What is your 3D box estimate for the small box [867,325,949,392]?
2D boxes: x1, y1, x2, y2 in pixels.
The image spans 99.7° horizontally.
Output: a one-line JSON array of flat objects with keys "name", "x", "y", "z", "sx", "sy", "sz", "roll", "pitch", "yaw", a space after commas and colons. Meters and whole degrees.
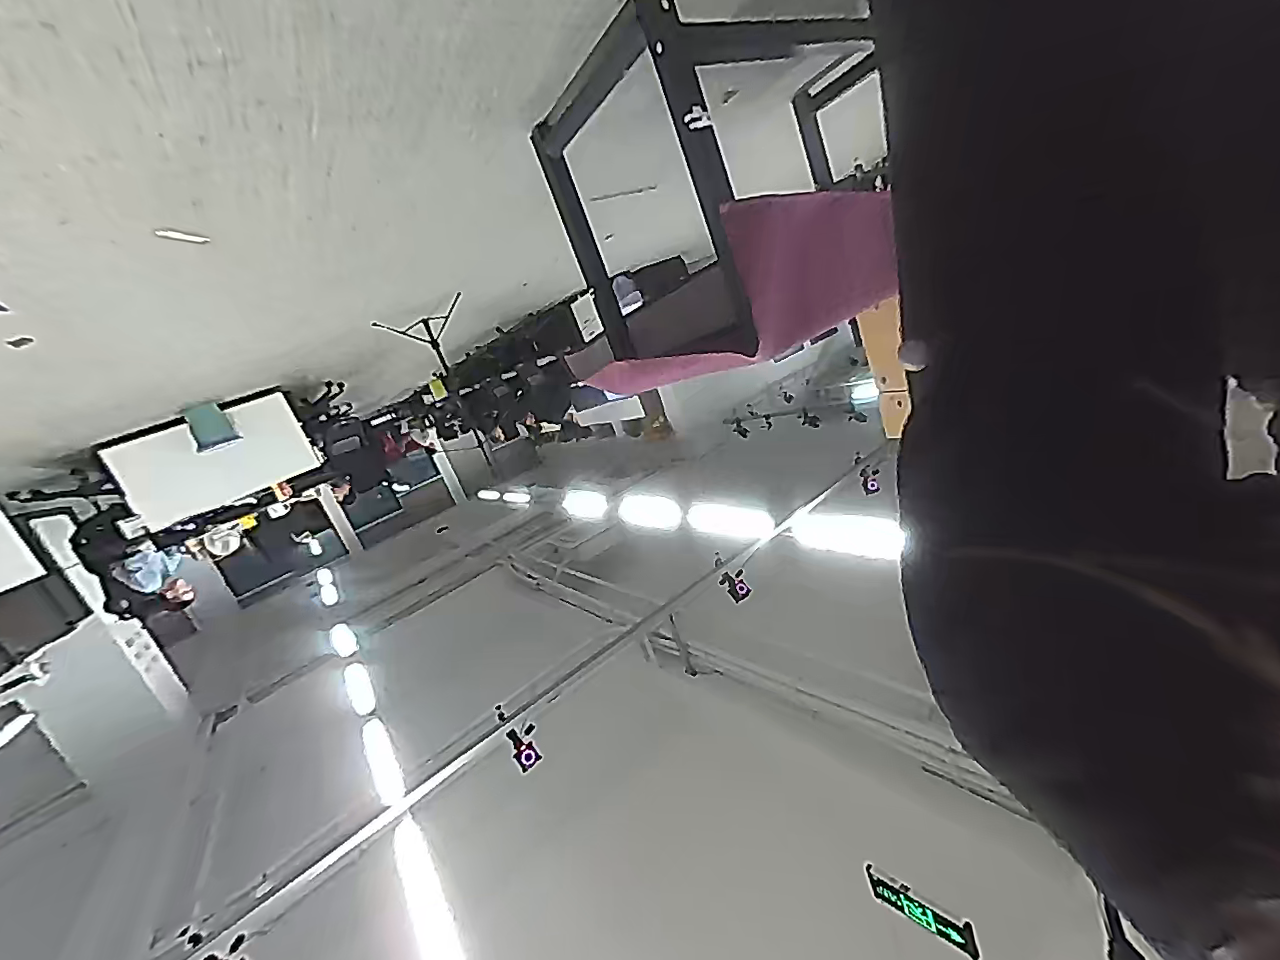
[{"name": "small box", "x": 0.876, "y": -0.401, "z": 1.782, "sx": 0.168, "sy": 0.176, "sz": 0.179, "roll": -27, "pitch": -165, "yaw": -18}]

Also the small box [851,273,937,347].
[{"name": "small box", "x": 0.813, "y": -0.546, "z": 1.734, "sx": 0.179, "sy": 0.176, "sz": 0.168, "roll": -26, "pitch": -166, "yaw": -20}]
